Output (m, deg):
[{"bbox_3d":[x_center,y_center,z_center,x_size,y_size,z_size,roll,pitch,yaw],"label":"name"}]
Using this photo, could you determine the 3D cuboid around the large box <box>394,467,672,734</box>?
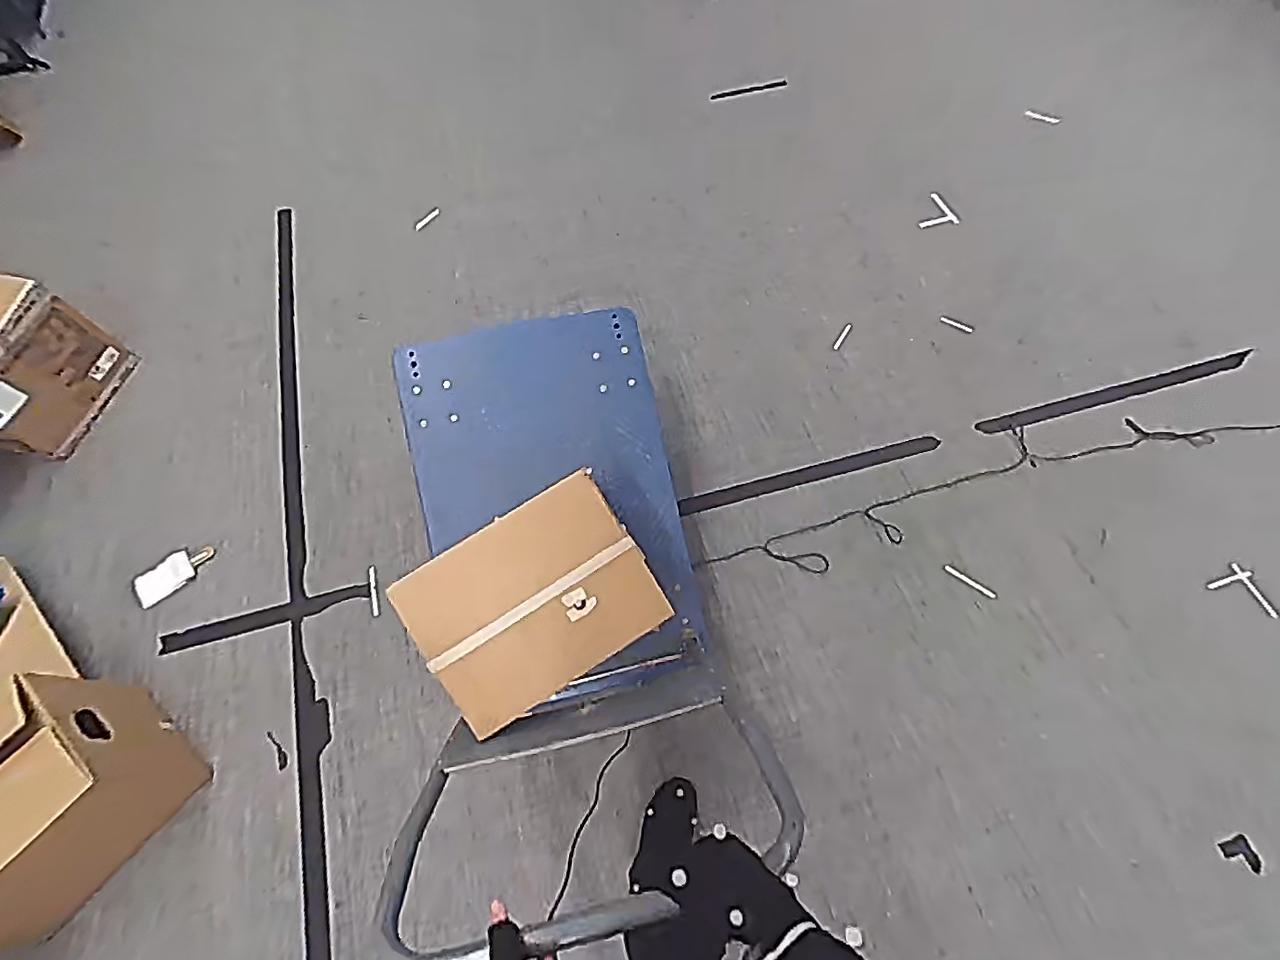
[{"bbox_3d":[-0.199,0.220,1.104,0.408,0.320,0.320,-32,91,-7],"label":"large box"}]
